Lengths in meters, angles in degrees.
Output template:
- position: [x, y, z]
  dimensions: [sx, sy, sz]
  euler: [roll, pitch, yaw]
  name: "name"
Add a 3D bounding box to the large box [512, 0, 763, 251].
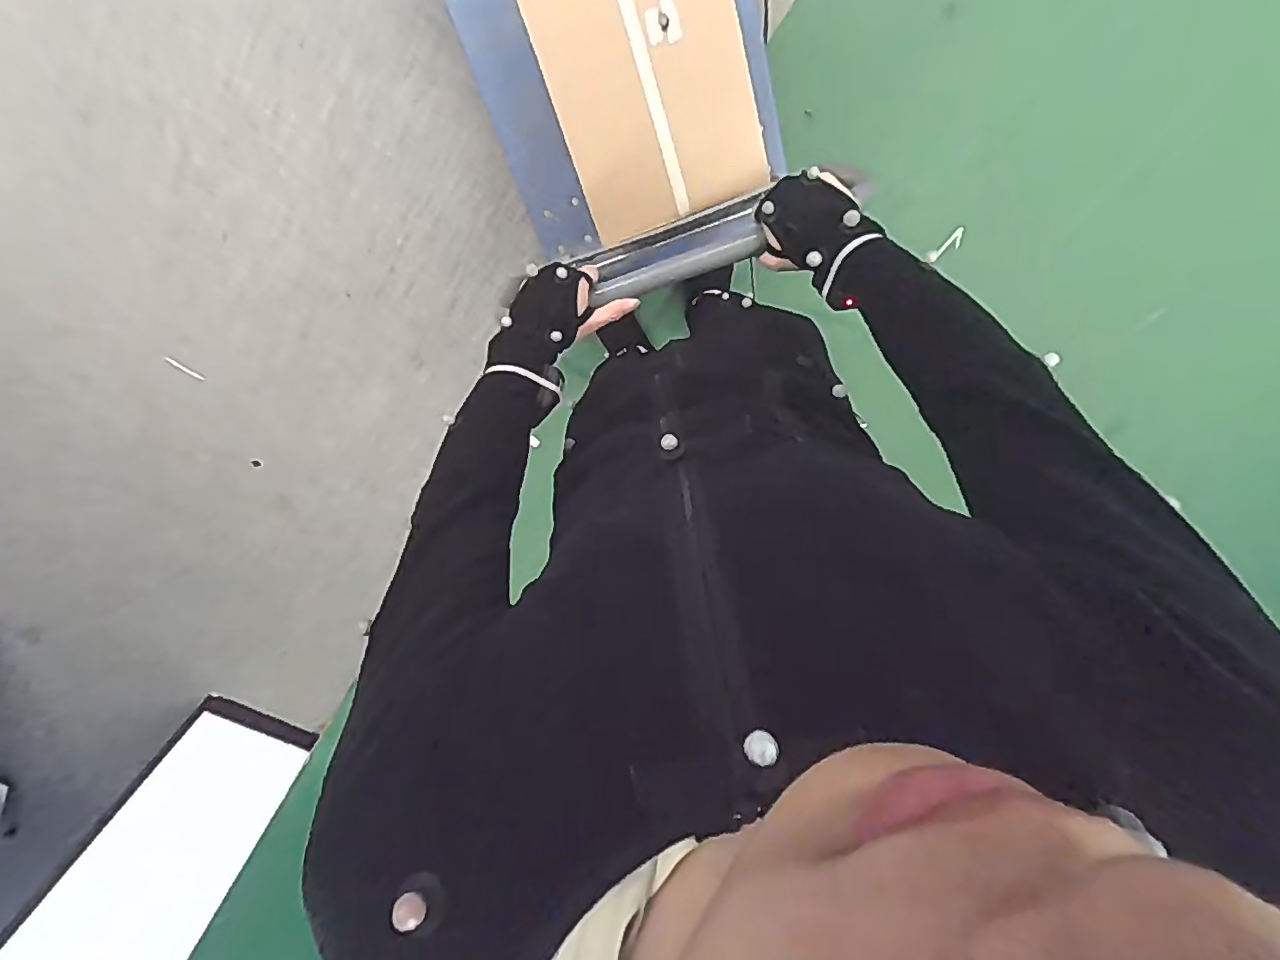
- position: [0.015, -0.700, 1.026]
  dimensions: [0.320, 0.320, 0.408]
  euler: [-17, 115, 10]
  name: "large box"
